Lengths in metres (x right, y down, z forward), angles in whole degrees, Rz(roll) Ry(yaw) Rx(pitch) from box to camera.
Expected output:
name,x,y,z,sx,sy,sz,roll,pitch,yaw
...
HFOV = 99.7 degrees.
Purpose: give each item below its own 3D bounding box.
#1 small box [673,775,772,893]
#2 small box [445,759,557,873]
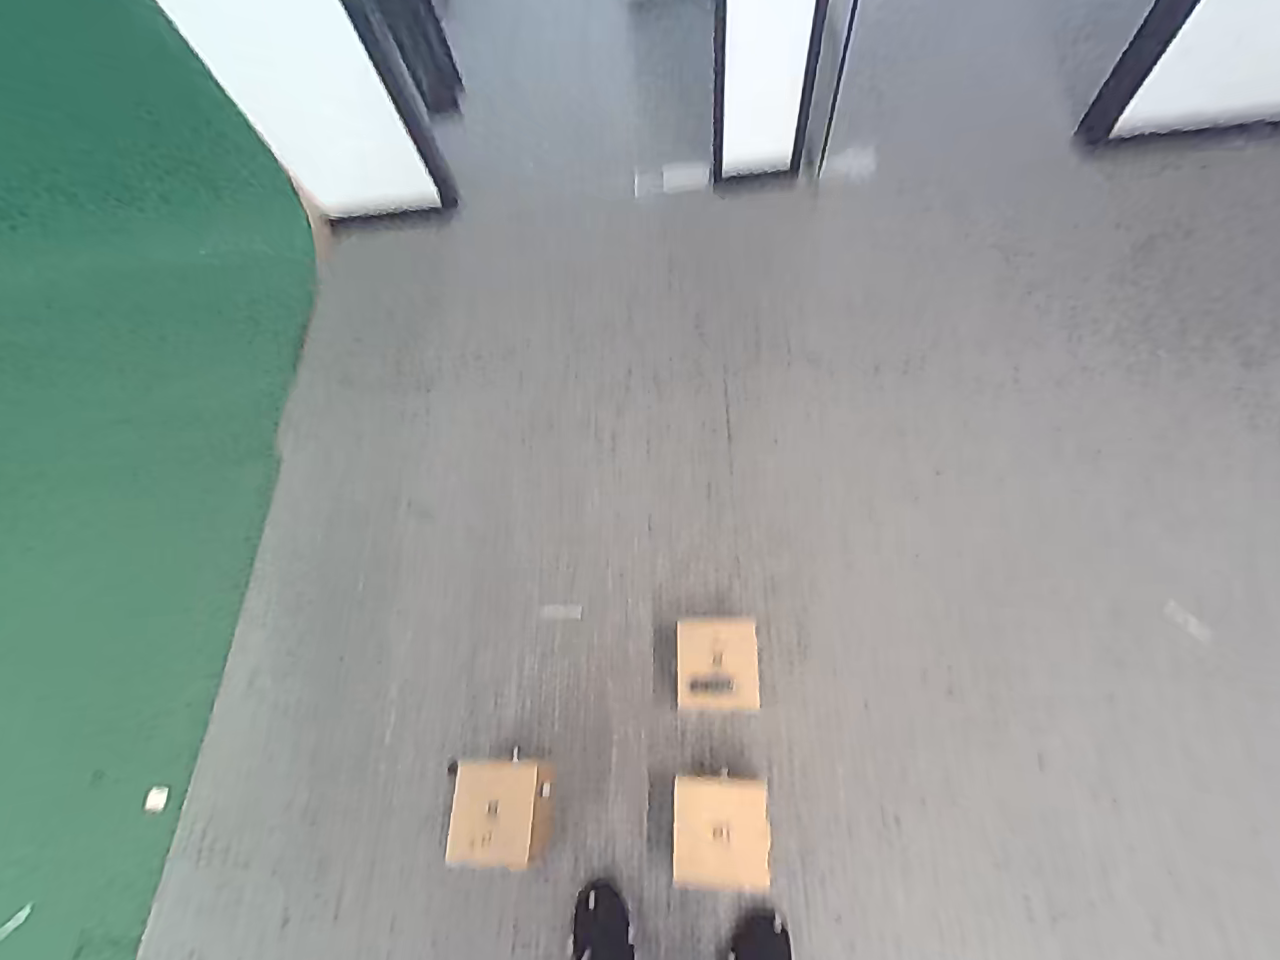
name,x,y,z,sx,sy,sz,roll,pitch,yaw
small box,0.158,0.679,1.056,0.179,0.176,0.168,0,66,6
small box,-0.274,0.678,1.110,0.168,0.176,0.179,-1,66,7
